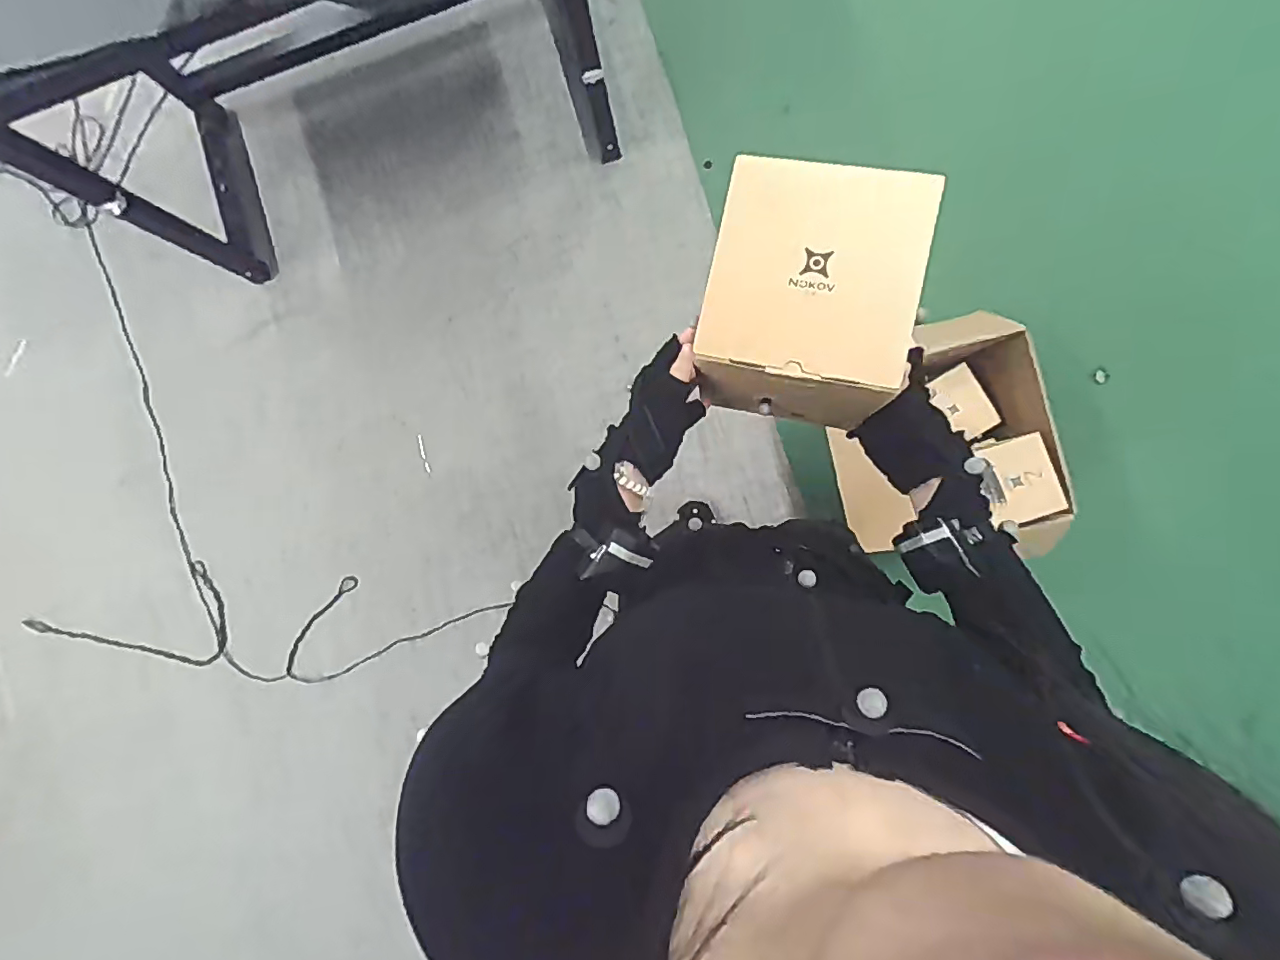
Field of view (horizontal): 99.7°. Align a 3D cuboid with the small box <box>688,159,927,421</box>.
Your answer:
[{"bbox_3d":[0.148,-0.168,0.523,0.168,0.176,0.179,12,89,10],"label":"small box"}]
